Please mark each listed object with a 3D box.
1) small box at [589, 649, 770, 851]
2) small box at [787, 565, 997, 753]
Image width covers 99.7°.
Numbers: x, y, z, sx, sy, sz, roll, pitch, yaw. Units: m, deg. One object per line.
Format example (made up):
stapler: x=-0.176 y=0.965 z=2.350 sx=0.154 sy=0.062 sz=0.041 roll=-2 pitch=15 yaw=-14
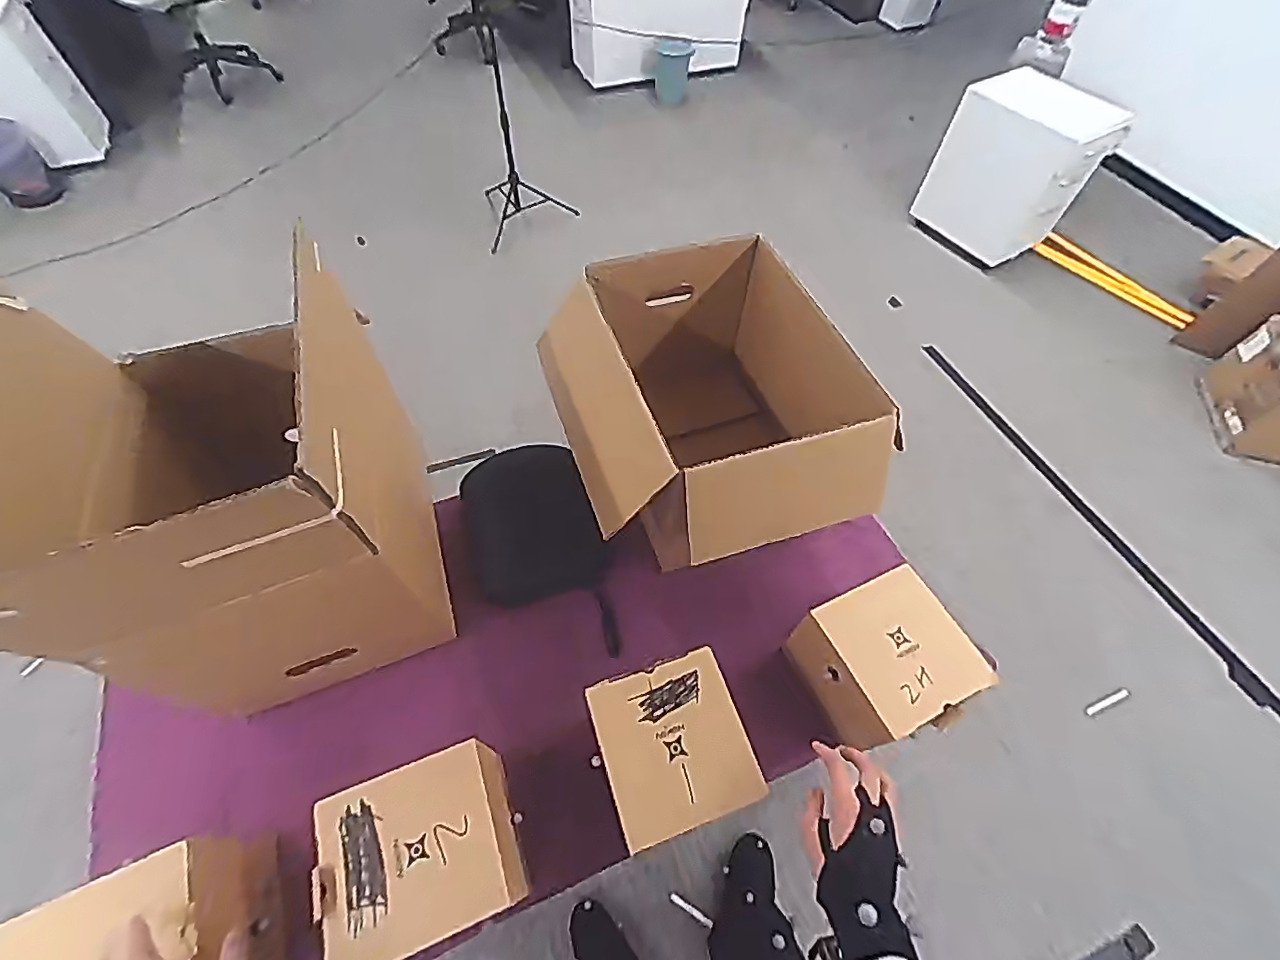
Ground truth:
small box: x=0.037 y=0.343 z=0.687 sx=0.168 sy=0.176 sz=0.179 roll=-15 pitch=60 yaw=-11
small box: x=0.330 y=0.253 z=0.753 sx=0.168 sy=0.176 sz=0.179 roll=-21 pitch=60 yaw=-13
